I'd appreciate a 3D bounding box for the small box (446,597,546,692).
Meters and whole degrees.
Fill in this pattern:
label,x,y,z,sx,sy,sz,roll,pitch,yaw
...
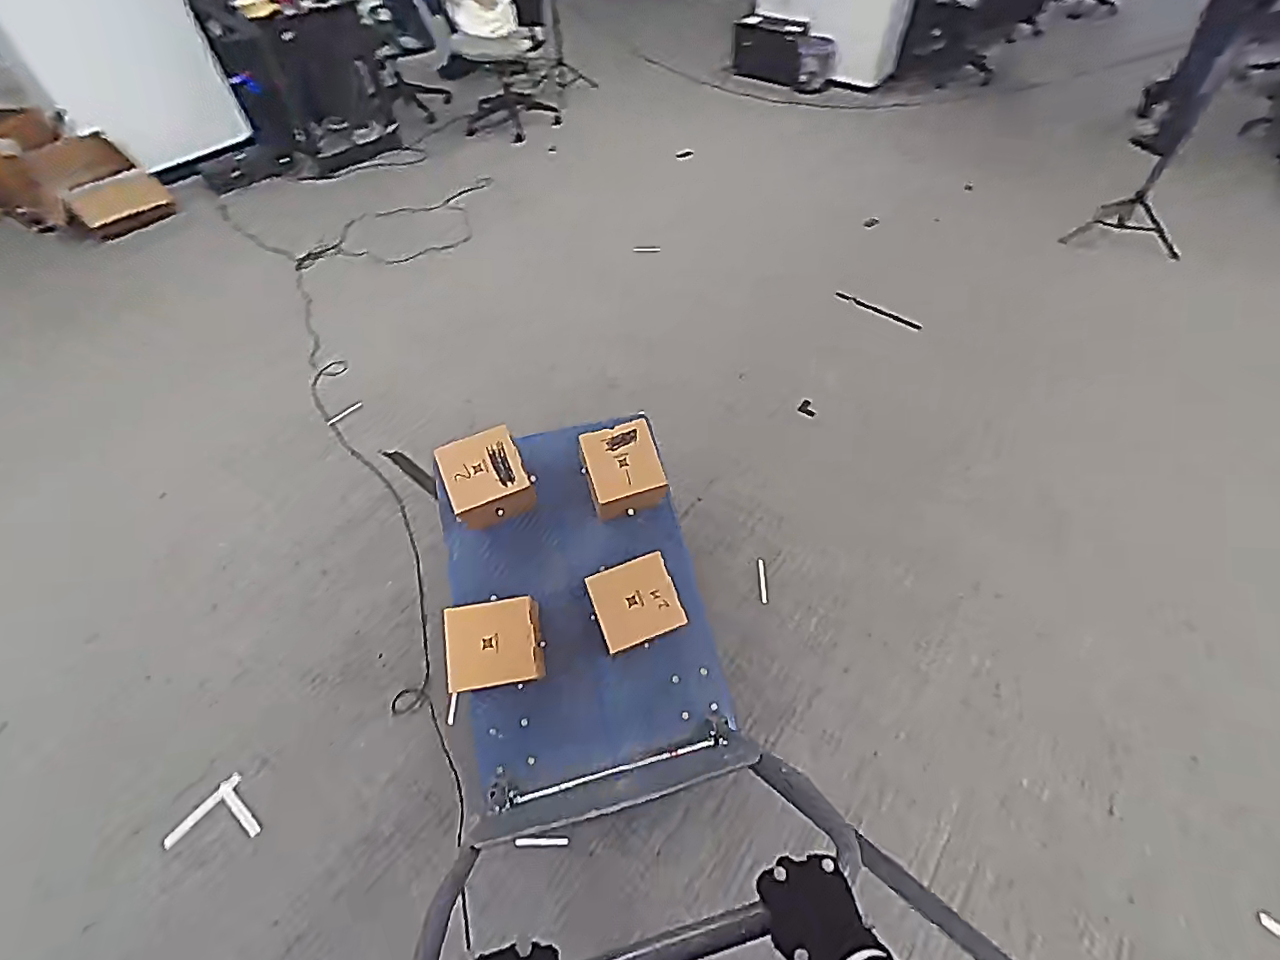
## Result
label,x,y,z,sx,sy,sz,roll,pitch,yaw
small box,-0.307,0.359,1.171,0.179,0.176,0.168,-8,72,-8

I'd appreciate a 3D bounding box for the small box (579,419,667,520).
label,x,y,z,sx,sy,sz,roll,pitch,yaw
small box,-0.046,-0.021,1.316,0.168,0.176,0.179,-17,74,-9

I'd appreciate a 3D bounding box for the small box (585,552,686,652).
label,x,y,z,sx,sy,sz,roll,pitch,yaw
small box,-0.013,0.280,1.216,0.179,0.176,0.168,-20,74,-9
